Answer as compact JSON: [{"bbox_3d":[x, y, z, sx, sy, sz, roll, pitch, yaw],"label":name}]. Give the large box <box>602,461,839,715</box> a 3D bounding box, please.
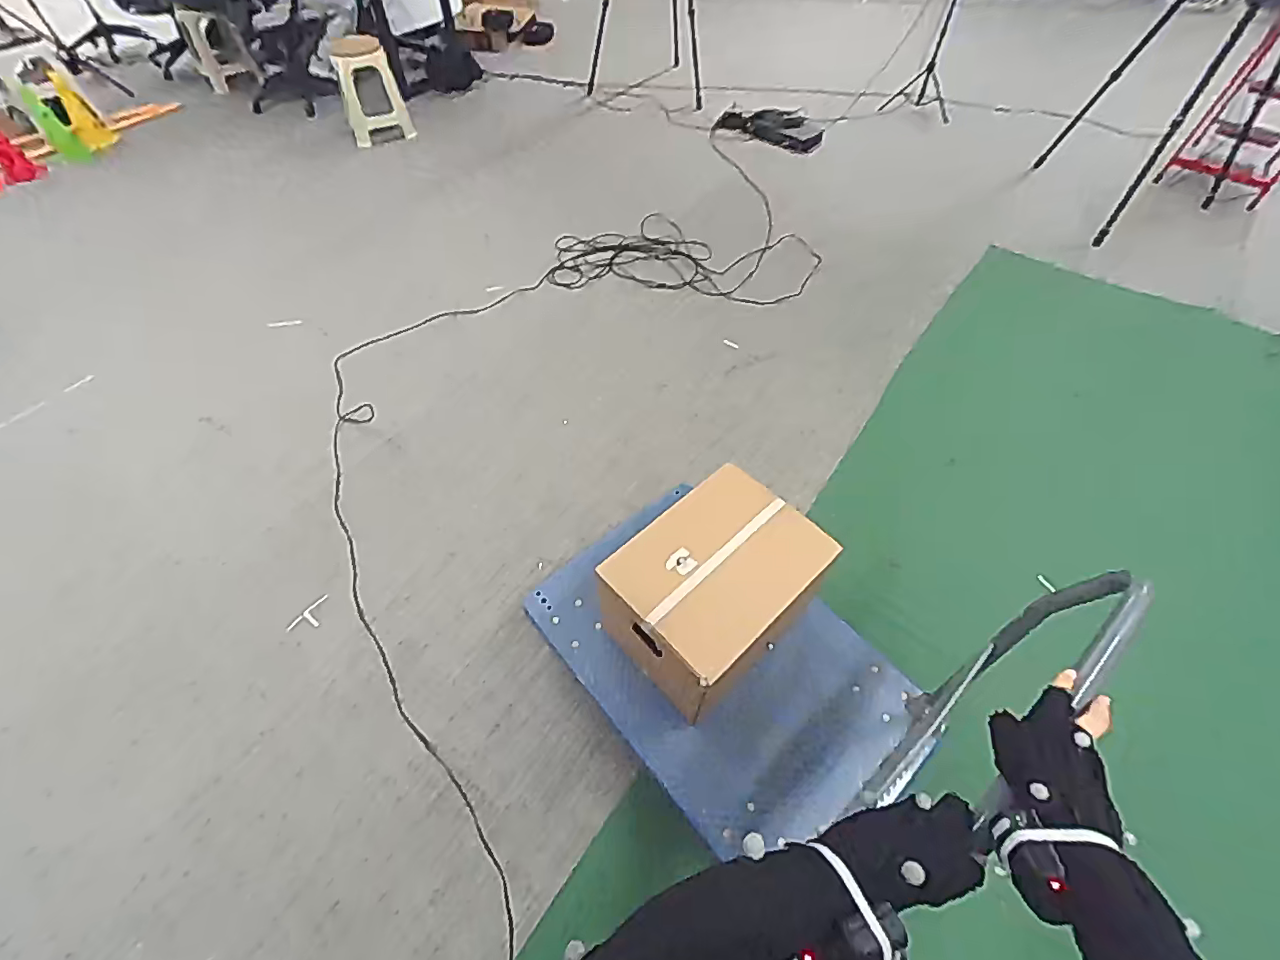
[{"bbox_3d":[0.167,0.241,1.215,0.408,0.320,0.320,-38,62,-23],"label":"large box"}]
